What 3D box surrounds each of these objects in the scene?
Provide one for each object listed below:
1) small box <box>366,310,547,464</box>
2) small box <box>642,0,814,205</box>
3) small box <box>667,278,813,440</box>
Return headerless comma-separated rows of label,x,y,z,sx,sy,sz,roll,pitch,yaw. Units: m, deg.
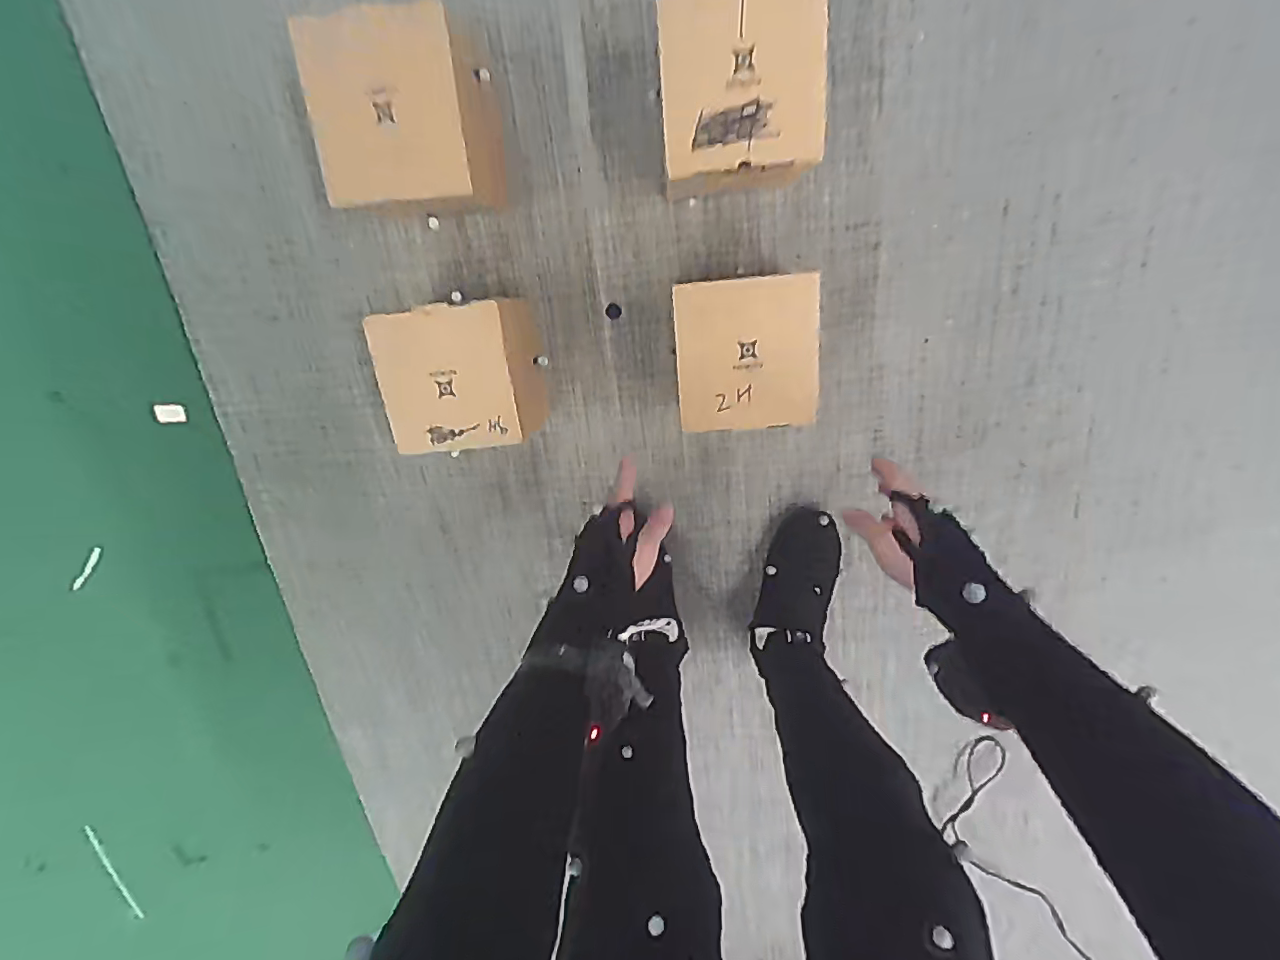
small box,-0.234,-0.133,0.738,0.168,0.176,0.179,-5,108,5
small box,0.095,-0.422,0.615,0.168,0.176,0.179,-4,108,5
small box,0.122,-0.161,0.706,0.168,0.176,0.179,-4,109,5
